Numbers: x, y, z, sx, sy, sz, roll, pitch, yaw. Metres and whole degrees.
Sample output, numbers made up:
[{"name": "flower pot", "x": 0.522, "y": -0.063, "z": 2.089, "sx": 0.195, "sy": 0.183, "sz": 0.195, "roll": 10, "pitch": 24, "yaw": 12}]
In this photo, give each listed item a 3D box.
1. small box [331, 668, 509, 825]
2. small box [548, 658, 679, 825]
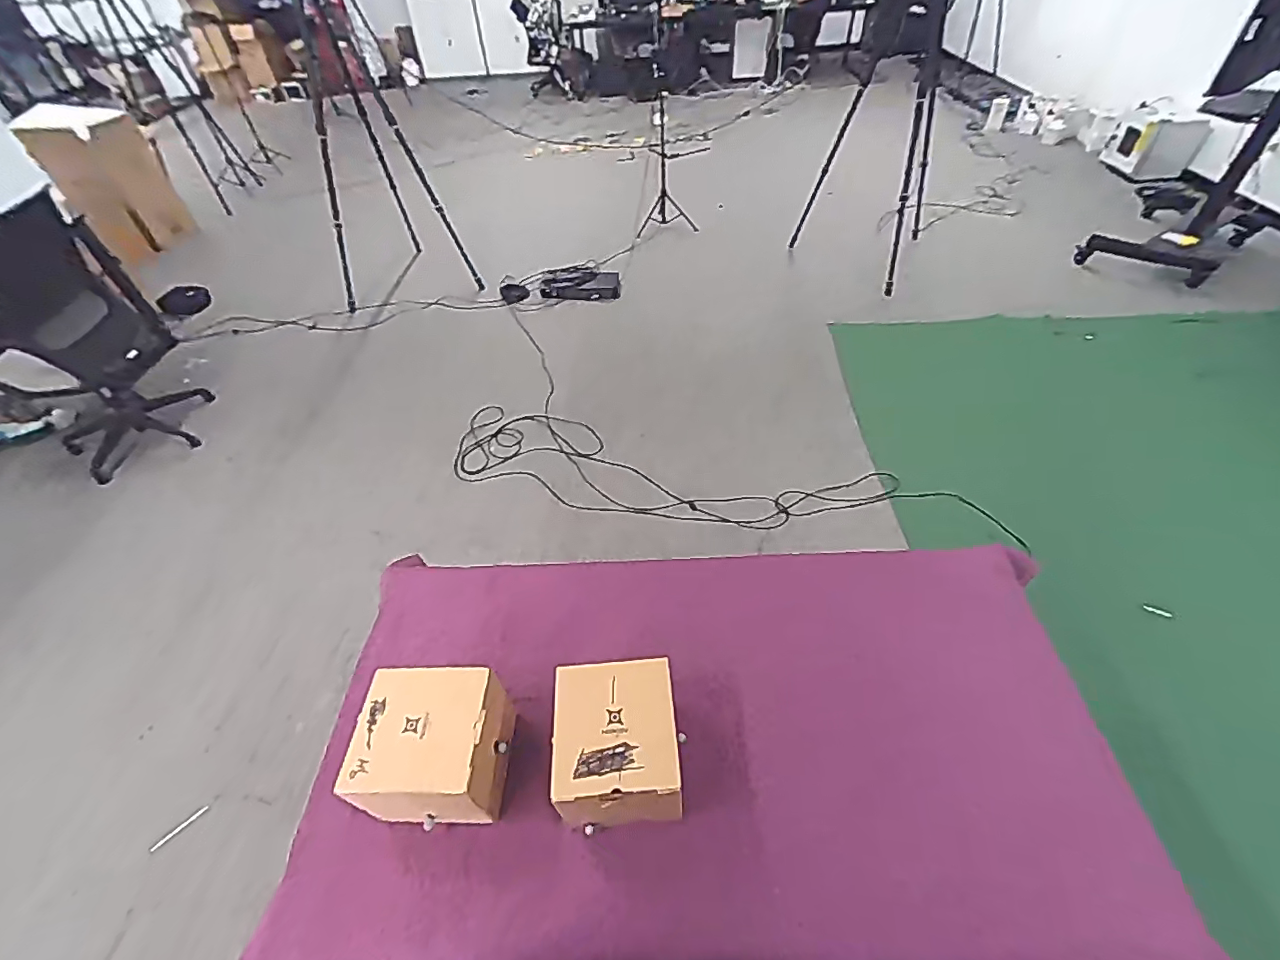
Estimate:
[{"name": "small box", "x": -0.300, "y": 0.389, "z": 0.788, "sx": 0.179, "sy": 0.176, "sz": 0.168, "roll": 0, "pitch": 47, "yaw": 2}, {"name": "small box", "x": -0.033, "y": 0.381, "z": 0.779, "sx": 0.168, "sy": 0.176, "sz": 0.179, "roll": -4, "pitch": 46, "yaw": -1}]
